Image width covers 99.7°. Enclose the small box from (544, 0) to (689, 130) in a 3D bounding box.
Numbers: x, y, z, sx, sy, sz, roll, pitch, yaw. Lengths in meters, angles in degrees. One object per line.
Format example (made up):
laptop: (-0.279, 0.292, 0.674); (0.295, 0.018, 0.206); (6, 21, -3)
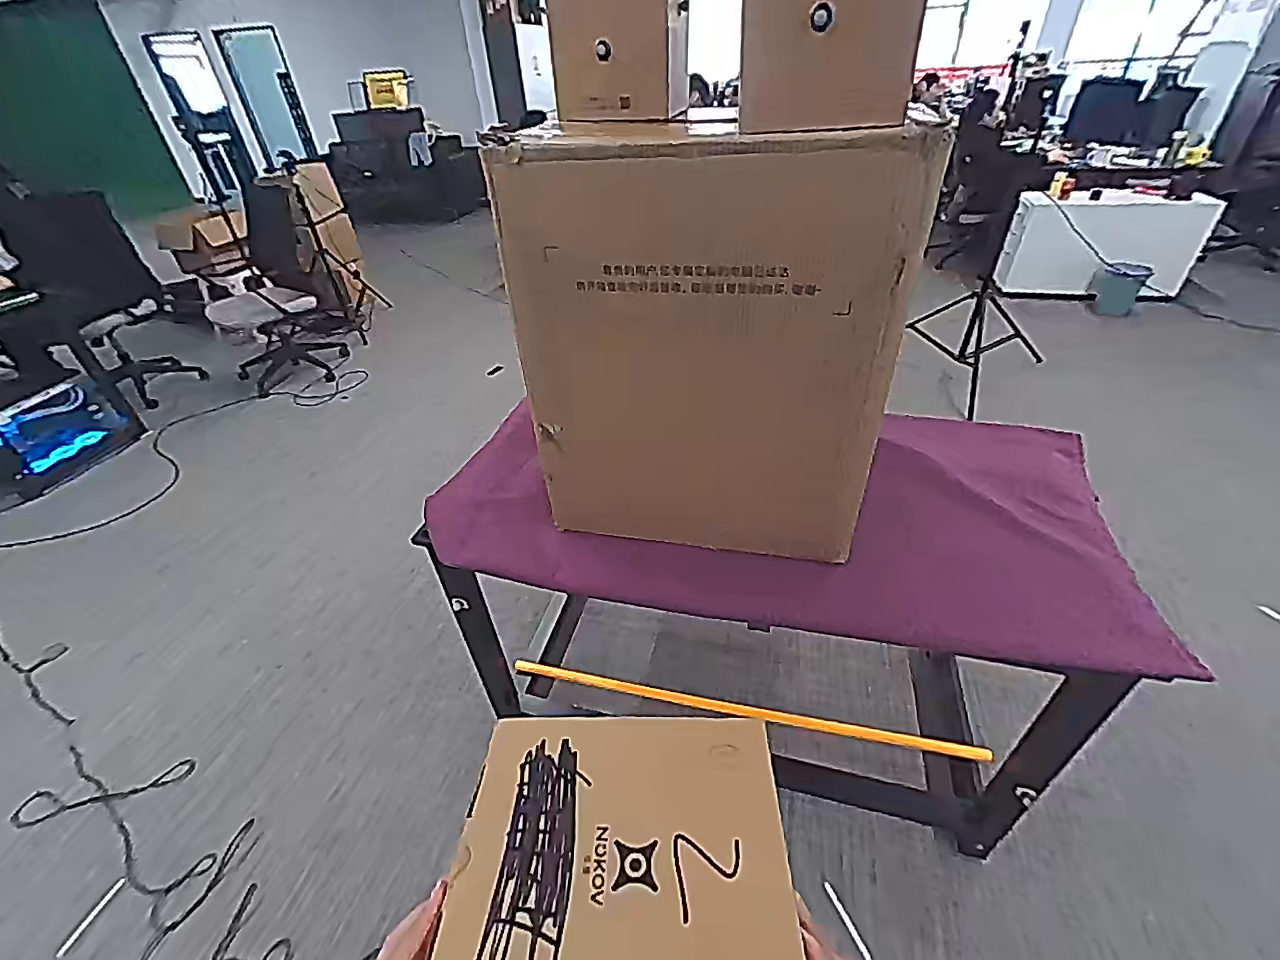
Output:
small box: (-0.022, -0.615, 0.785); (0.168, 0.176, 0.179); (7, 39, 12)
